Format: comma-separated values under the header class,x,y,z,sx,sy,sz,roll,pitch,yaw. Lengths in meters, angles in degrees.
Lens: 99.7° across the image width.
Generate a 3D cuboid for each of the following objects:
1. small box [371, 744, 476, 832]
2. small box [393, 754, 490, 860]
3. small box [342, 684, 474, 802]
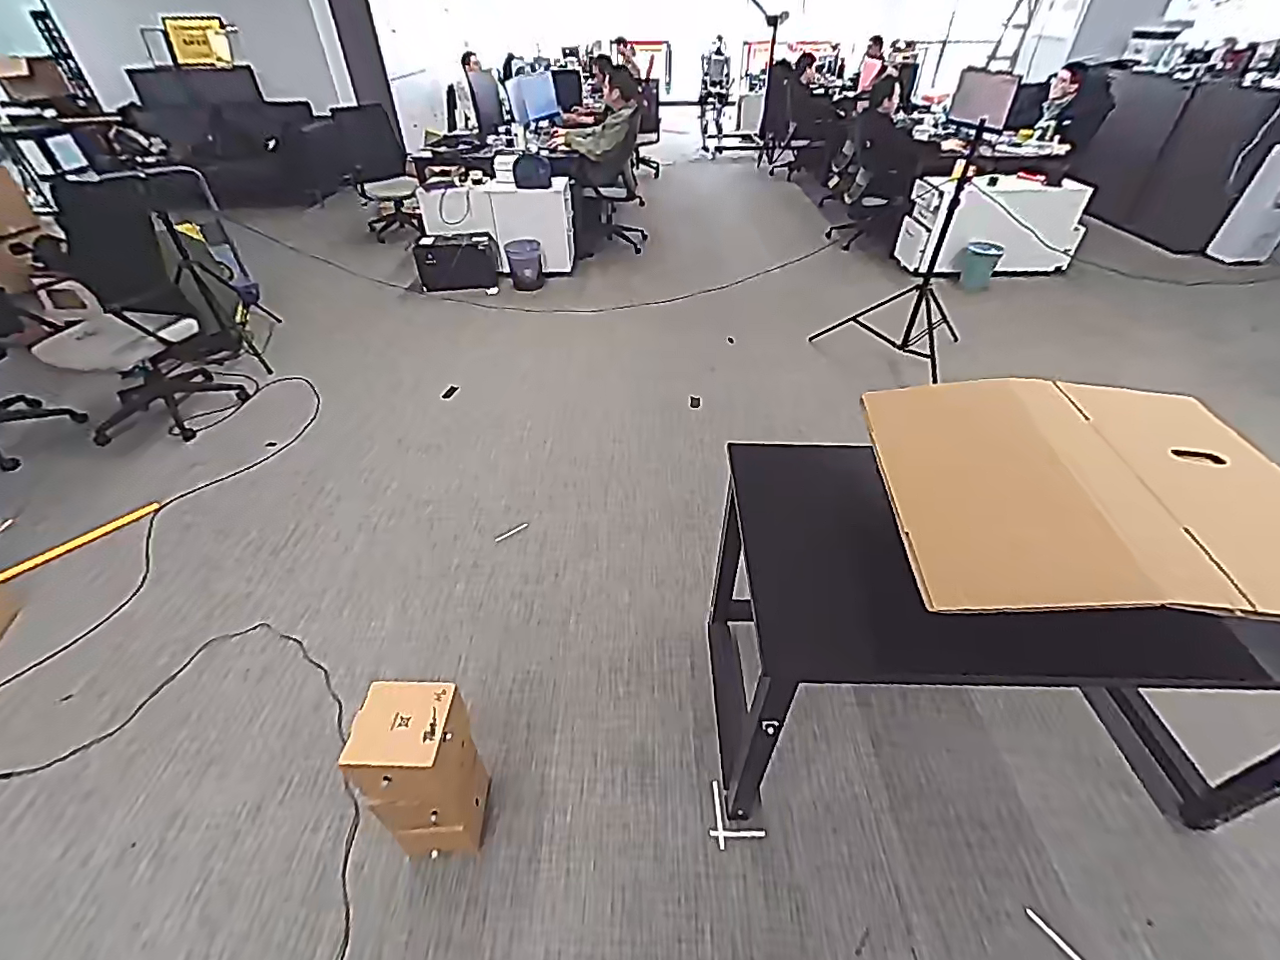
class,x,y,z,sx,sy,sz,roll,pitch,yaw
small box,-0.469,0.659,1.204,0.168,0.176,0.179,-4,39,-5
small box,-0.466,0.787,1.303,0.168,0.176,0.179,-2,41,-2
small box,-0.456,0.535,1.096,0.179,0.176,0.168,0,40,1
